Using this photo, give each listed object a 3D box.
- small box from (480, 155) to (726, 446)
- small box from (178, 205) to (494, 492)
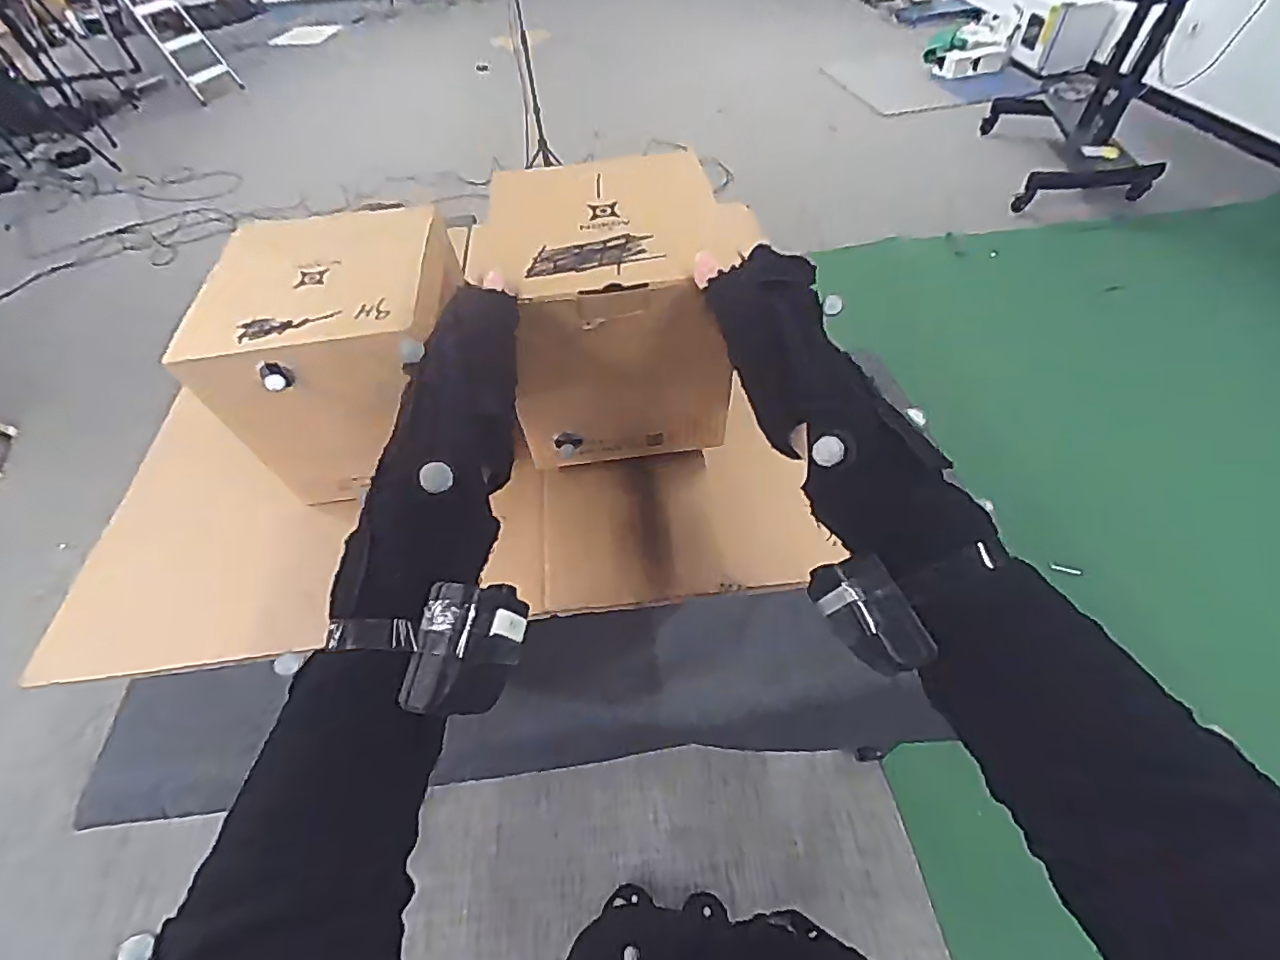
[{"bbox_3d":[-0.025,-0.142,0.460,0.168,0.176,0.179,-7,52,-1],"label":"small box"},{"bbox_3d":[-0.236,-0.113,0.481,0.168,0.176,0.179,-8,52,0],"label":"small box"}]
